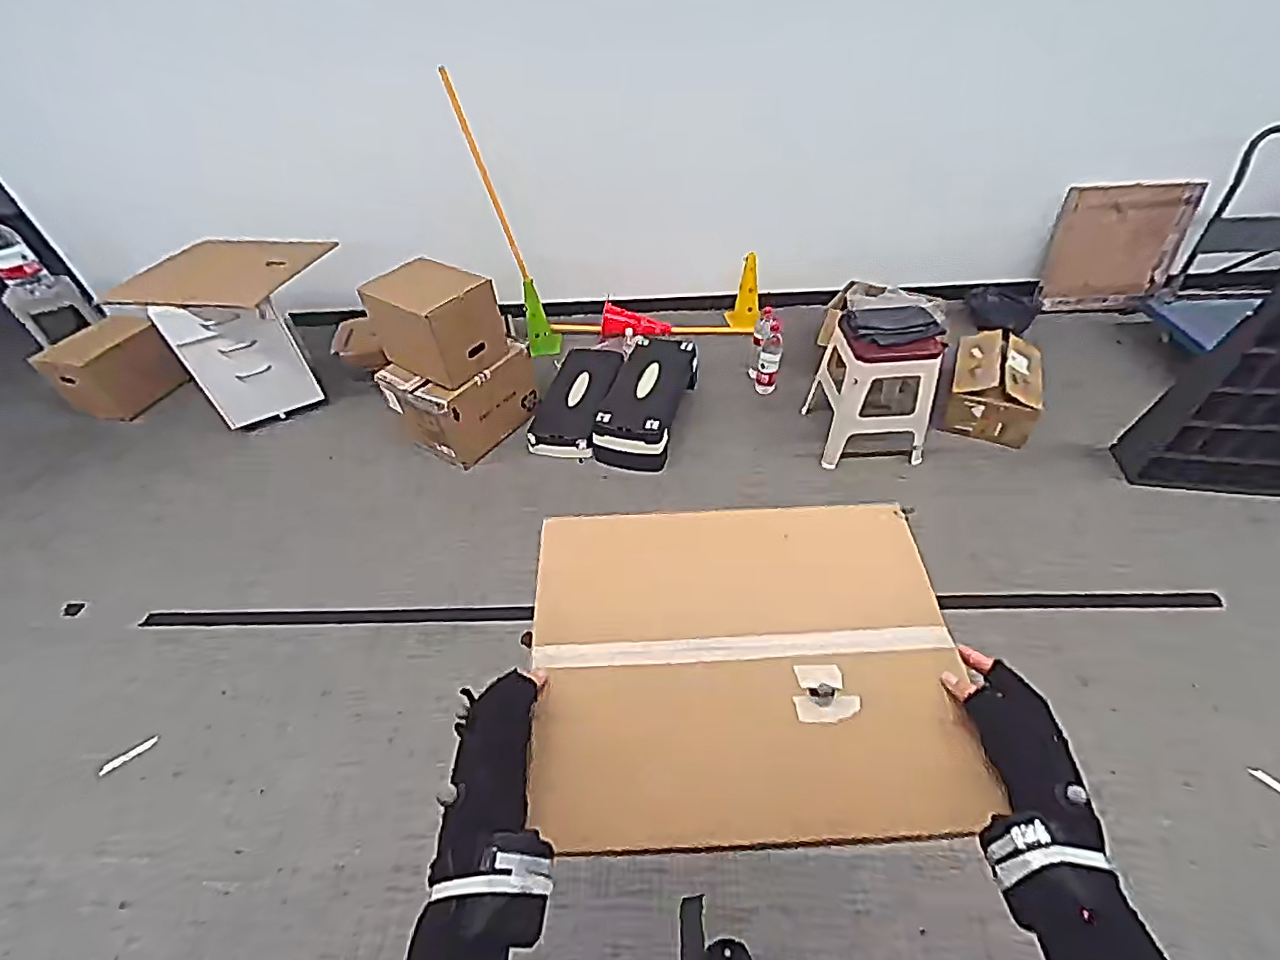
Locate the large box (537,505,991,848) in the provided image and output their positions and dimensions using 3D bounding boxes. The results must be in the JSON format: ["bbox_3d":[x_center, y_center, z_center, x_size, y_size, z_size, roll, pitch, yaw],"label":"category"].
[{"bbox_3d":[0.100,0.251,0.667,0.408,0.320,0.320,-3,56,-1],"label":"large box"}]
